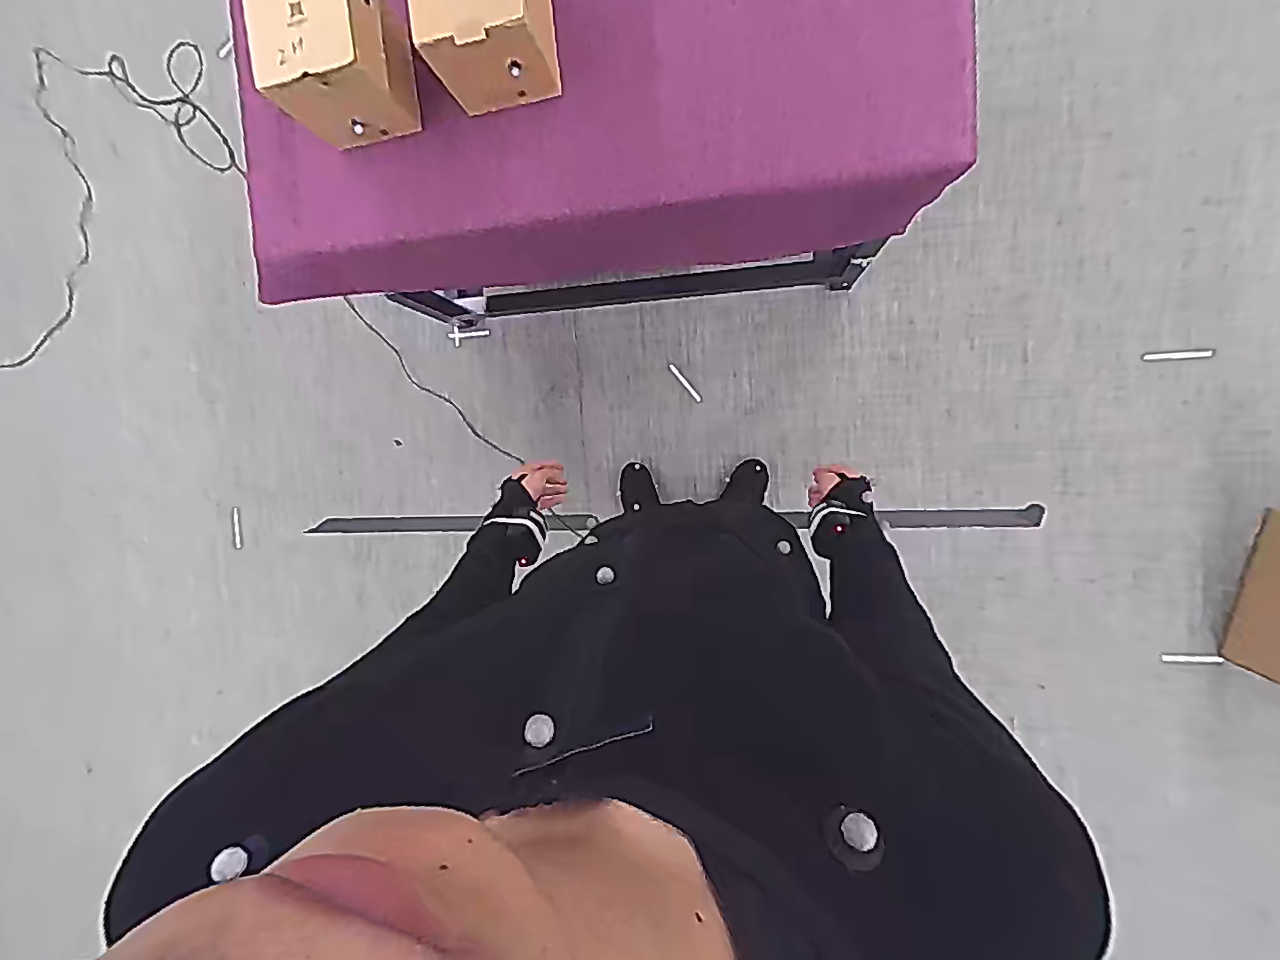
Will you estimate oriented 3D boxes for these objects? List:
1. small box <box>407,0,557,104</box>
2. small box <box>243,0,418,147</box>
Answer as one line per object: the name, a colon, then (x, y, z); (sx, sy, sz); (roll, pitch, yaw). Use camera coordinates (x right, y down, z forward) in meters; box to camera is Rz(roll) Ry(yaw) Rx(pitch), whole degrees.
small box: (-0.230, -0.700, 0.808); (0.168, 0.176, 0.179); (-5, 93, 9)
small box: (-0.475, -0.668, 0.848); (0.168, 0.176, 0.179); (-7, 93, 10)
